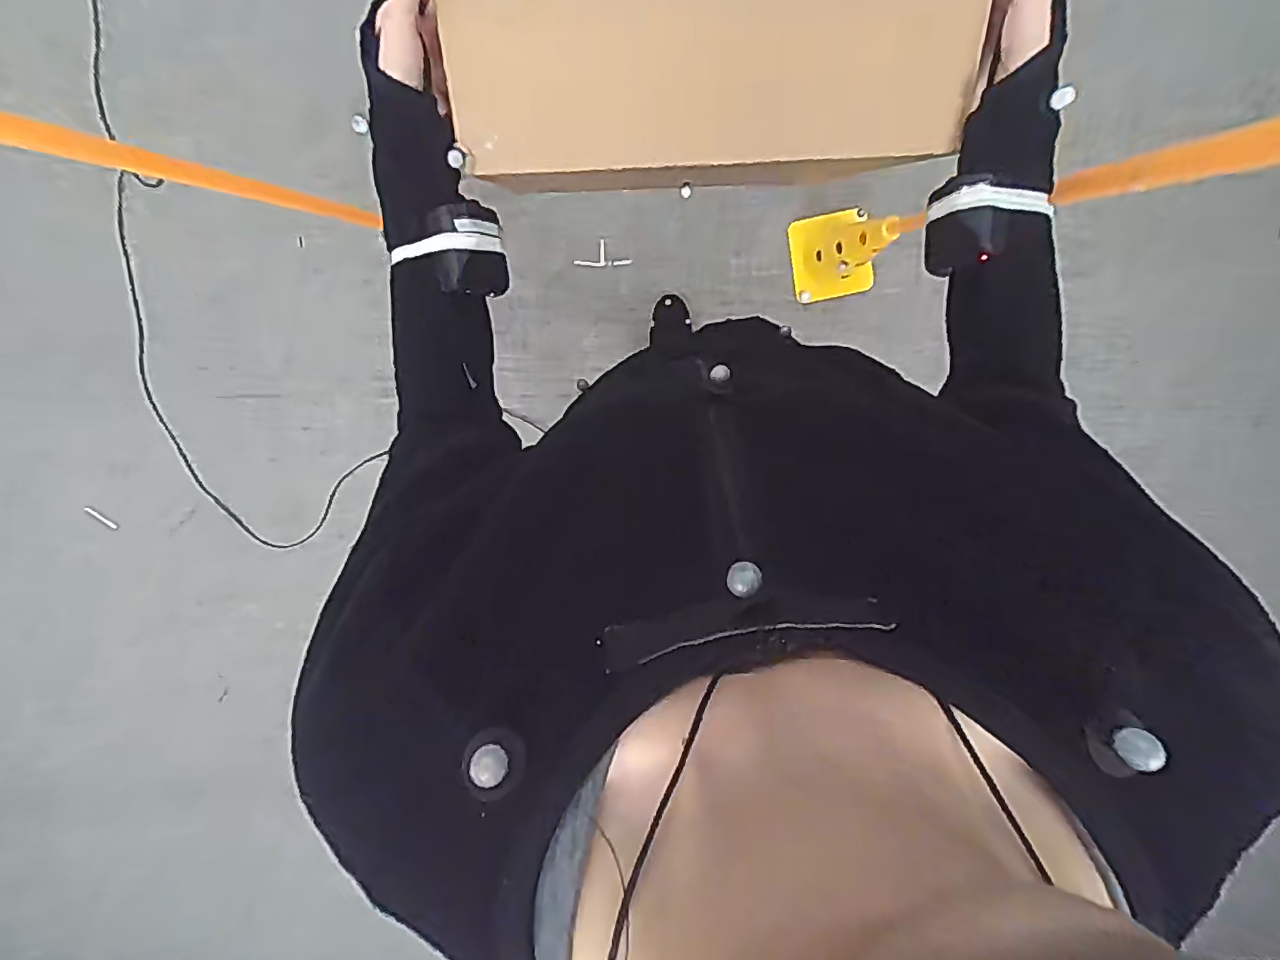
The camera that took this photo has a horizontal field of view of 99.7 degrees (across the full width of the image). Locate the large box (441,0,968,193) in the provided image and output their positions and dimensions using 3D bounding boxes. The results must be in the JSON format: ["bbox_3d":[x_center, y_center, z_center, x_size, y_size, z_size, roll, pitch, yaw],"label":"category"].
[{"bbox_3d":[0.043,-0.462,0.515,0.408,0.320,0.320,-4,115,-2],"label":"large box"}]
